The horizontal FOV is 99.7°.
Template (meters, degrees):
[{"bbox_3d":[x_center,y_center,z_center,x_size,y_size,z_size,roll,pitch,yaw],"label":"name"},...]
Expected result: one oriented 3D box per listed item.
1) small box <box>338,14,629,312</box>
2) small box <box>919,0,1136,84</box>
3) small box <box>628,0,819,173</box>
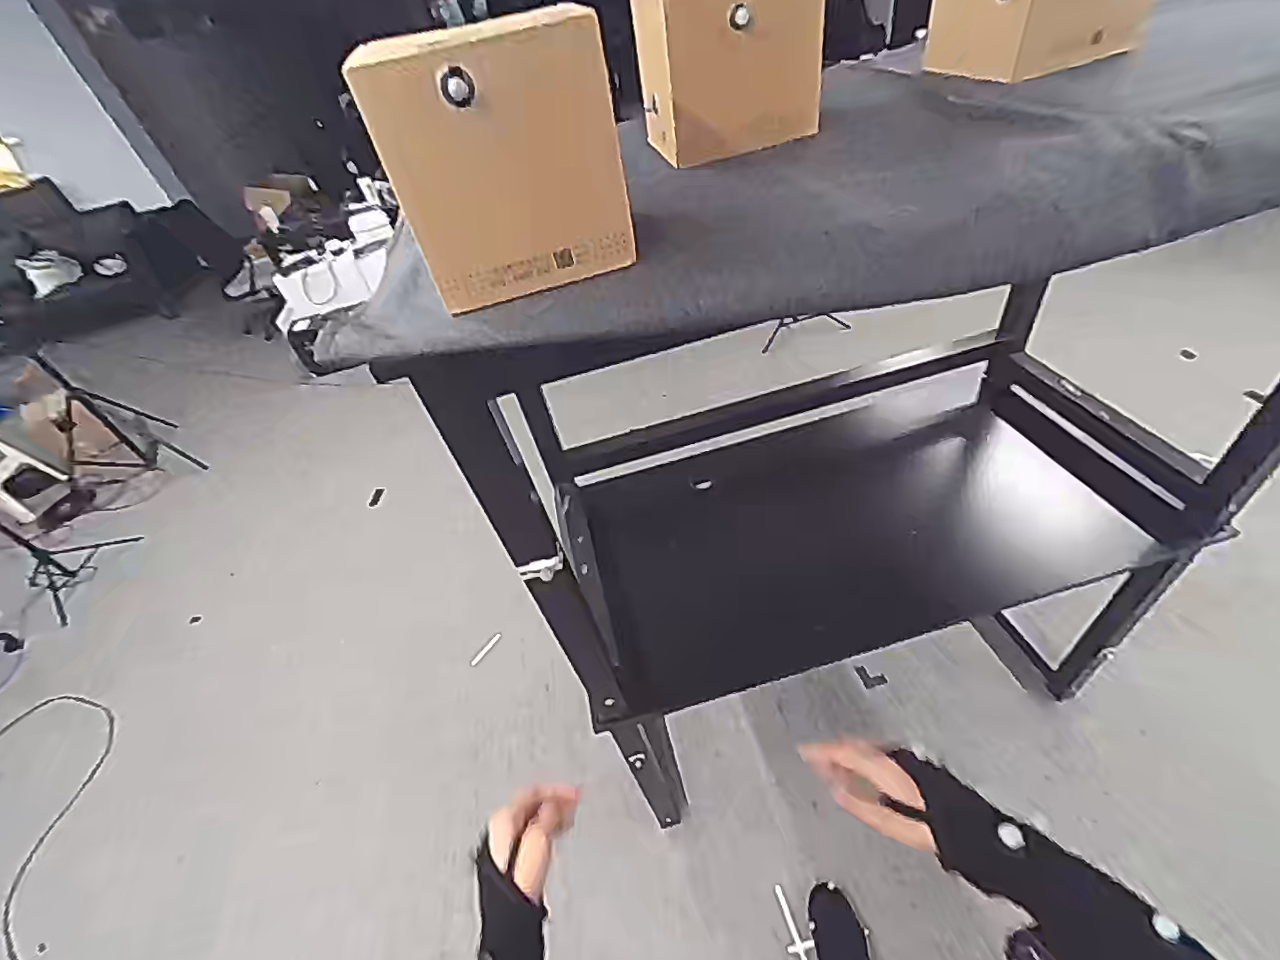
[{"bbox_3d":[-0.118,-0.265,0.455,0.168,0.176,0.179,-18,43,-5],"label":"small box"},{"bbox_3d":[0.478,-0.607,0.660,0.168,0.176,0.179,-17,44,-5],"label":"small box"},{"bbox_3d":[0.094,-0.493,0.642,0.179,0.176,0.168,-16,44,-2],"label":"small box"}]
